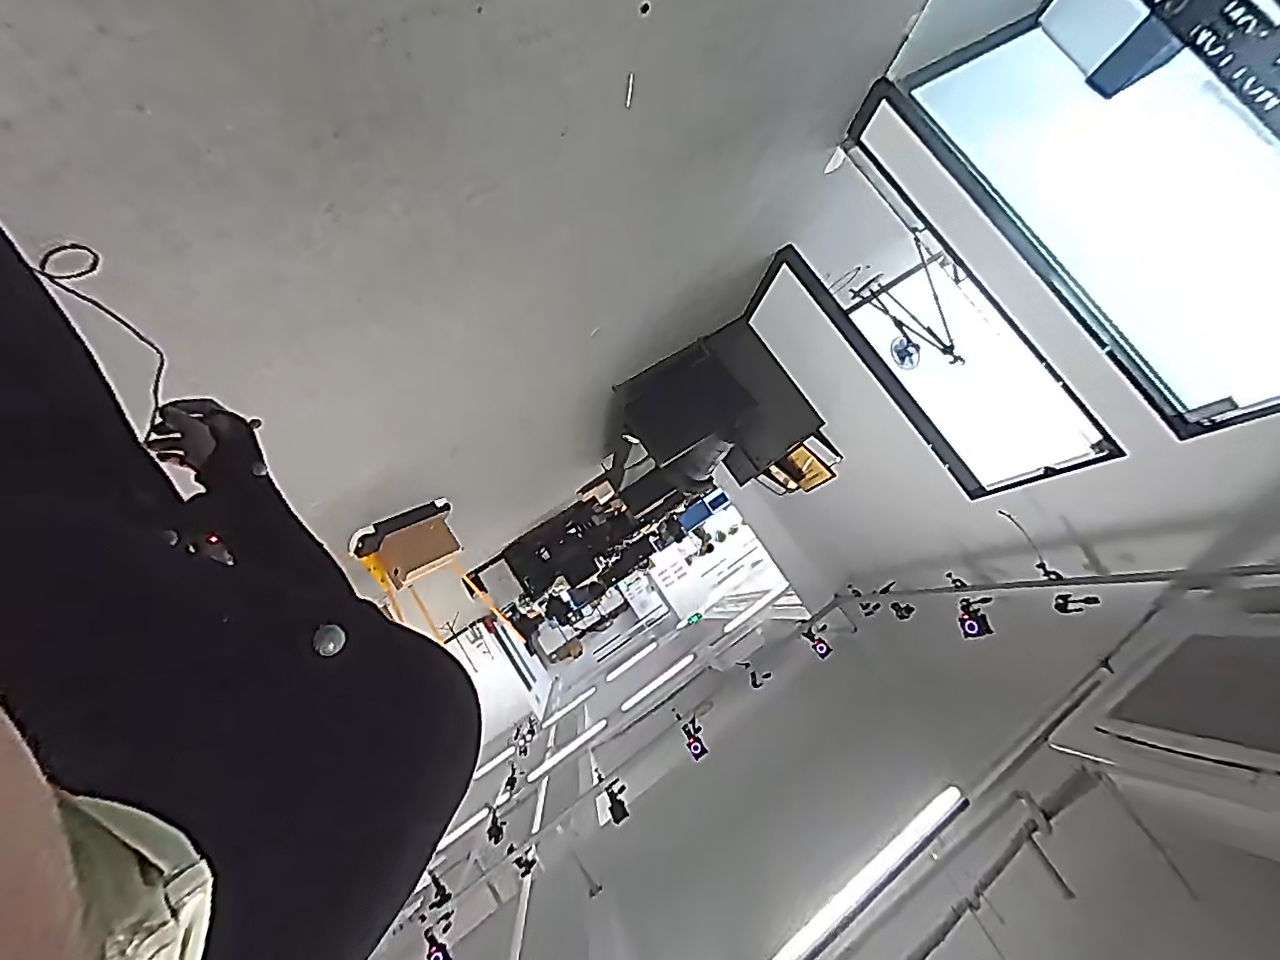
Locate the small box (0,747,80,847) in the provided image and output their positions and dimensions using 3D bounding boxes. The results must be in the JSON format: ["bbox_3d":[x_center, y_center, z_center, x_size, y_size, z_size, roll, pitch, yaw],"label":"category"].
[{"bbox_3d":[-1.600,0.814,1.361,0.179,0.176,0.168,-33,172,-7],"label":"small box"}]
